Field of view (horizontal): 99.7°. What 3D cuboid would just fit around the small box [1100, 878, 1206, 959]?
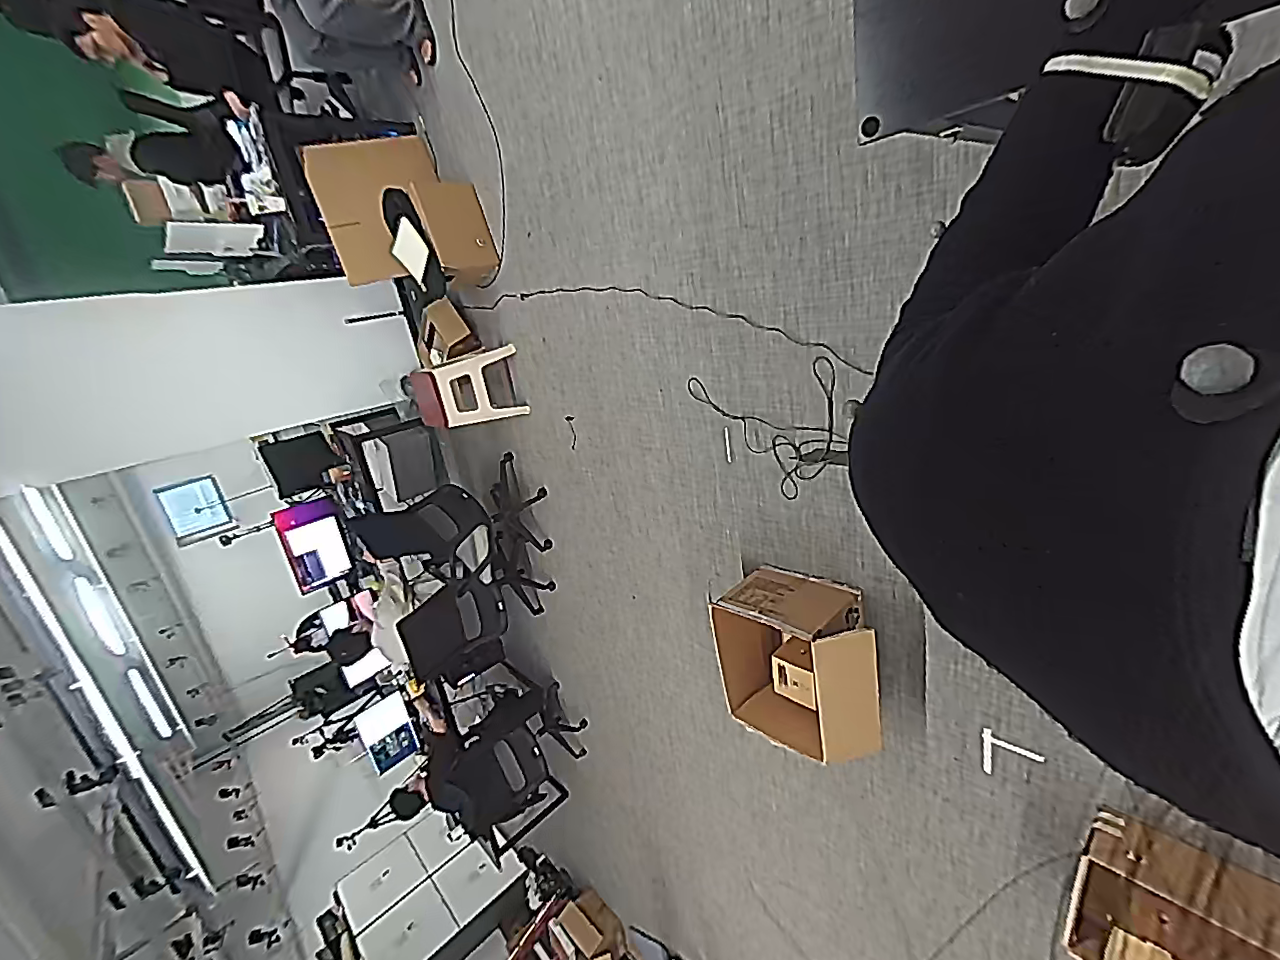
[{"bbox_3d":[1.303,1.176,1.374,0.168,0.176,0.179,16,119,44],"label":"small box"}]
